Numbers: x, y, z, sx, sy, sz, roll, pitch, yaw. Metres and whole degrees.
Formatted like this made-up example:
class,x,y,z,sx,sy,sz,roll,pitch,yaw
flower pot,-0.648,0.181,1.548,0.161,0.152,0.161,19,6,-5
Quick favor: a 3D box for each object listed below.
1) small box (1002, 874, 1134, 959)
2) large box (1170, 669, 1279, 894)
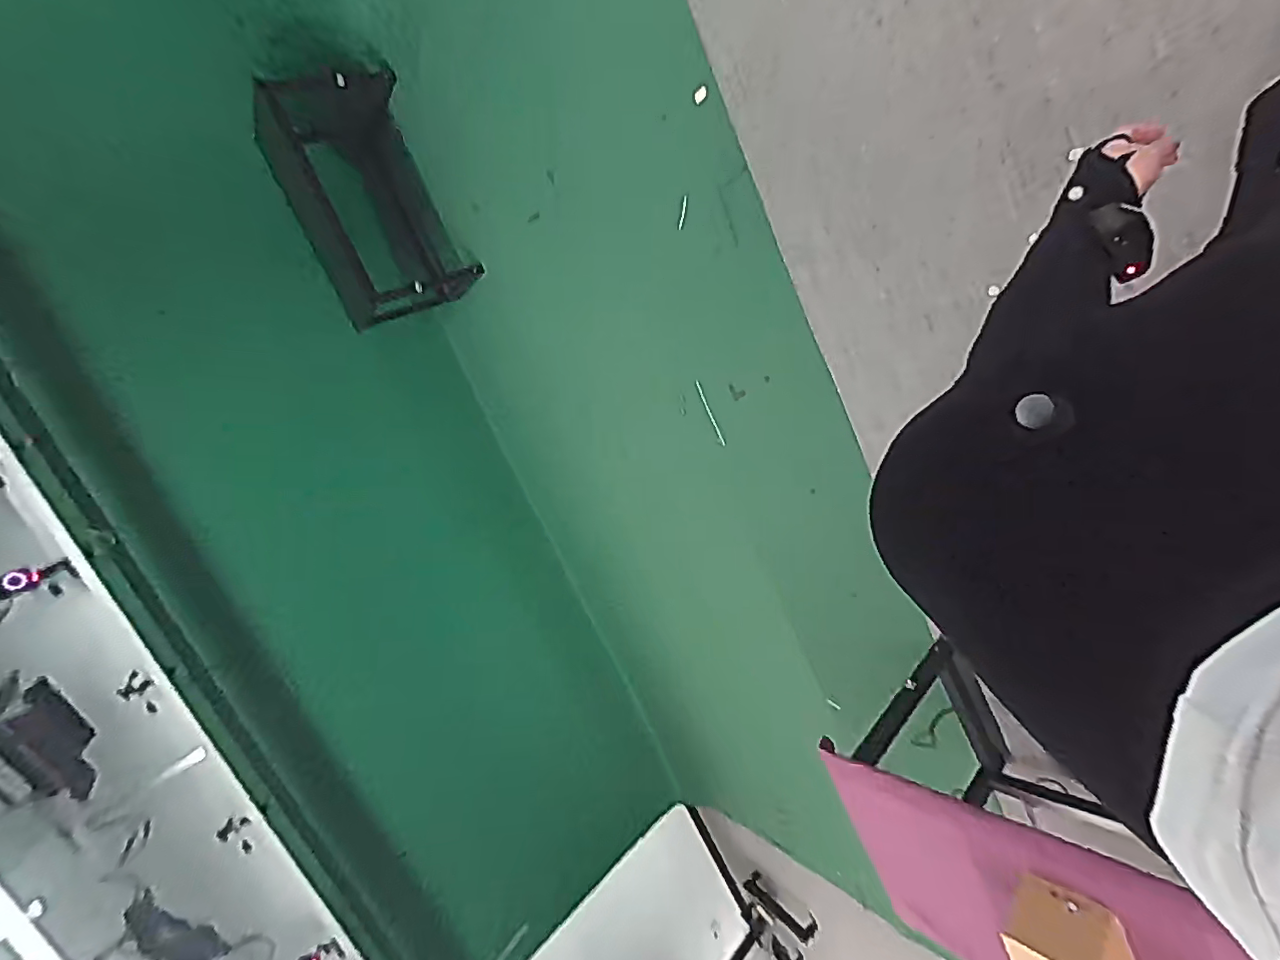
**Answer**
class,x,y,z,sx,sy,sz,roll,pitch,yaw
small box,0.914,1.003,1.147,0.168,0.176,0.179,-9,110,56
large box,1.552,0.724,1.283,0.320,0.320,0.408,-11,109,58
